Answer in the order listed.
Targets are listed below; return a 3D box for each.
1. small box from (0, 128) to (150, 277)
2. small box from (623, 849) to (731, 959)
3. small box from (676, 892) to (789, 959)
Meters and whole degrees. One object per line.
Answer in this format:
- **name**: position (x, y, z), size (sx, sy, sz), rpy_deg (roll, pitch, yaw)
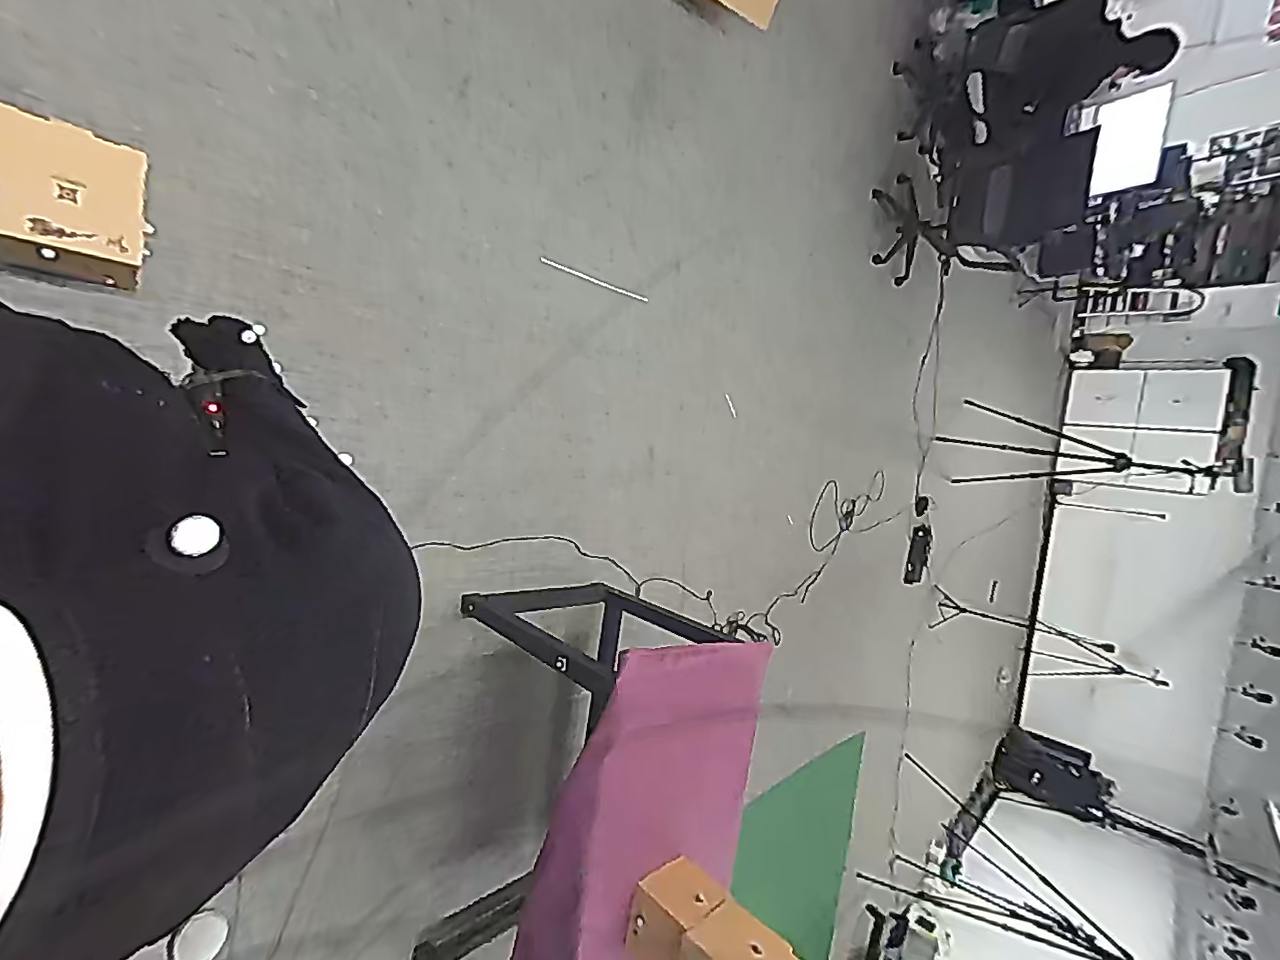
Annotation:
- **small box**: position (-0.992, -0.471, 0.954), size (0.179, 0.176, 0.168), rpy_deg (4, 95, -45)
- **small box**: position (0.088, 1.029, 1.290), size (0.179, 0.176, 0.168), rpy_deg (11, 89, -45)
- **small box**: position (0.193, 1.045, 1.164), size (0.179, 0.176, 0.168), rpy_deg (9, 90, -45)
